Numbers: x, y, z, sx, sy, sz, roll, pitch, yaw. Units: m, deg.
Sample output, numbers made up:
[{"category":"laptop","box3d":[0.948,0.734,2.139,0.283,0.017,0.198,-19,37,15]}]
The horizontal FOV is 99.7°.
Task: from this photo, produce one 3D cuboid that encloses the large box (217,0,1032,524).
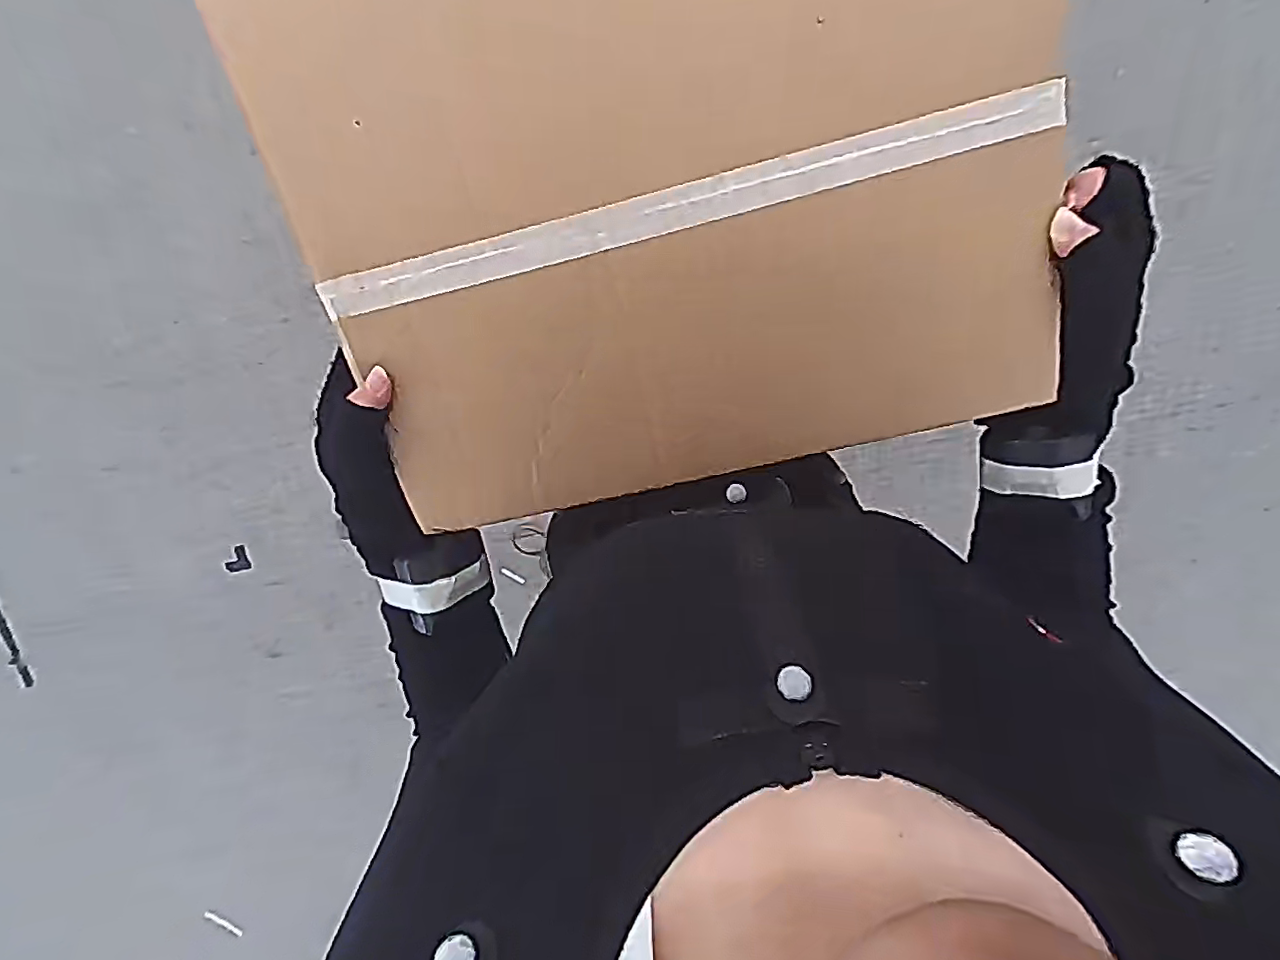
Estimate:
[{"category":"large box","box3d":[0.015,-0.205,0.442,0.408,0.320,0.320,-12,109,6]}]
